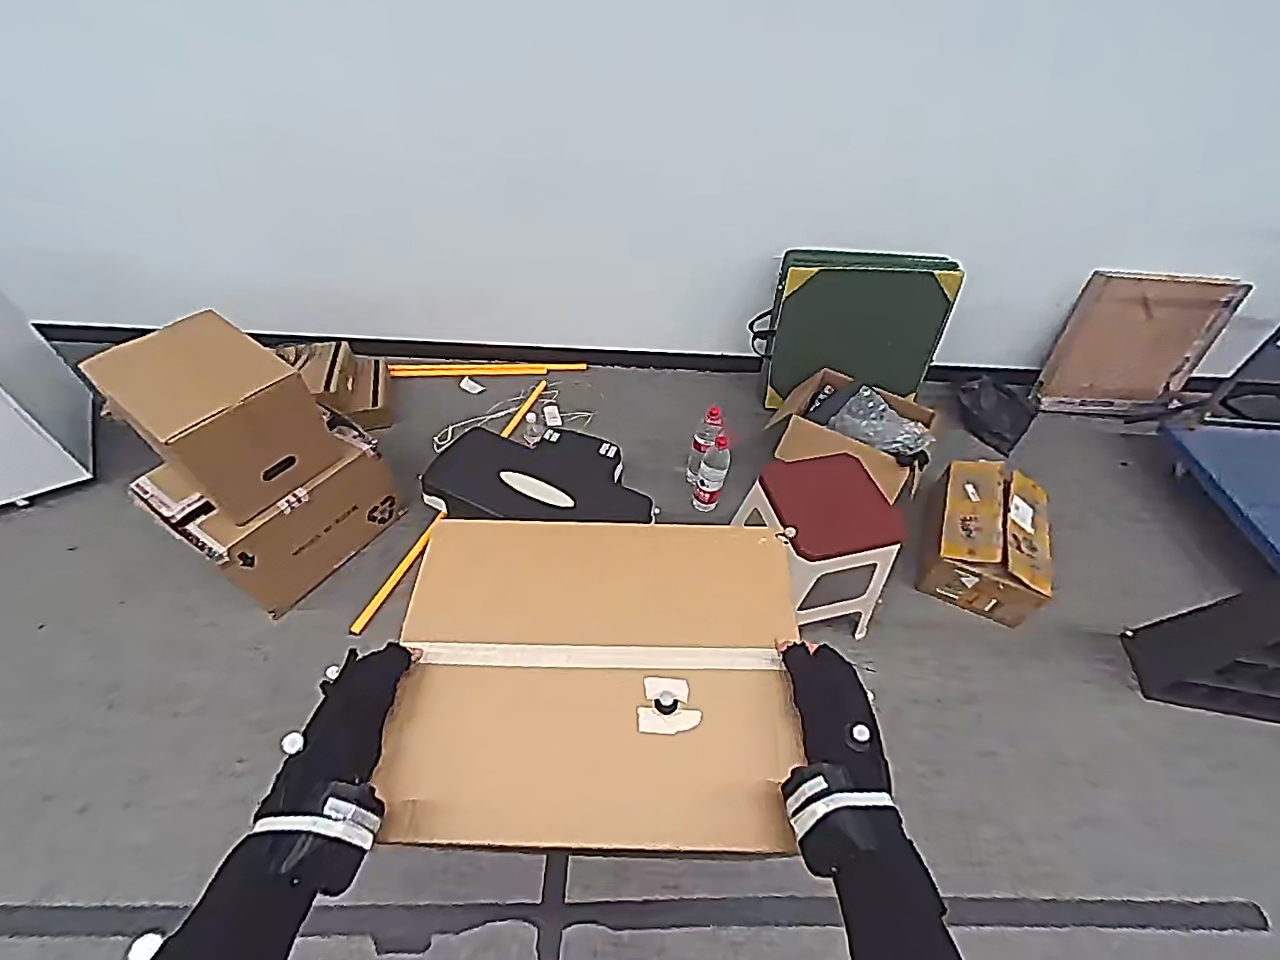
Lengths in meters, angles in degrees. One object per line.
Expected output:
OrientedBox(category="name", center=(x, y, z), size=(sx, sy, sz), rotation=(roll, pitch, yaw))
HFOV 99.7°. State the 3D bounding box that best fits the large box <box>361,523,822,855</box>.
OrientedBox(category="large box", center=(-0.043, 0.267, 0.665), size=(0.408, 0.320, 0.320), rotation=(2, 54, 0))
